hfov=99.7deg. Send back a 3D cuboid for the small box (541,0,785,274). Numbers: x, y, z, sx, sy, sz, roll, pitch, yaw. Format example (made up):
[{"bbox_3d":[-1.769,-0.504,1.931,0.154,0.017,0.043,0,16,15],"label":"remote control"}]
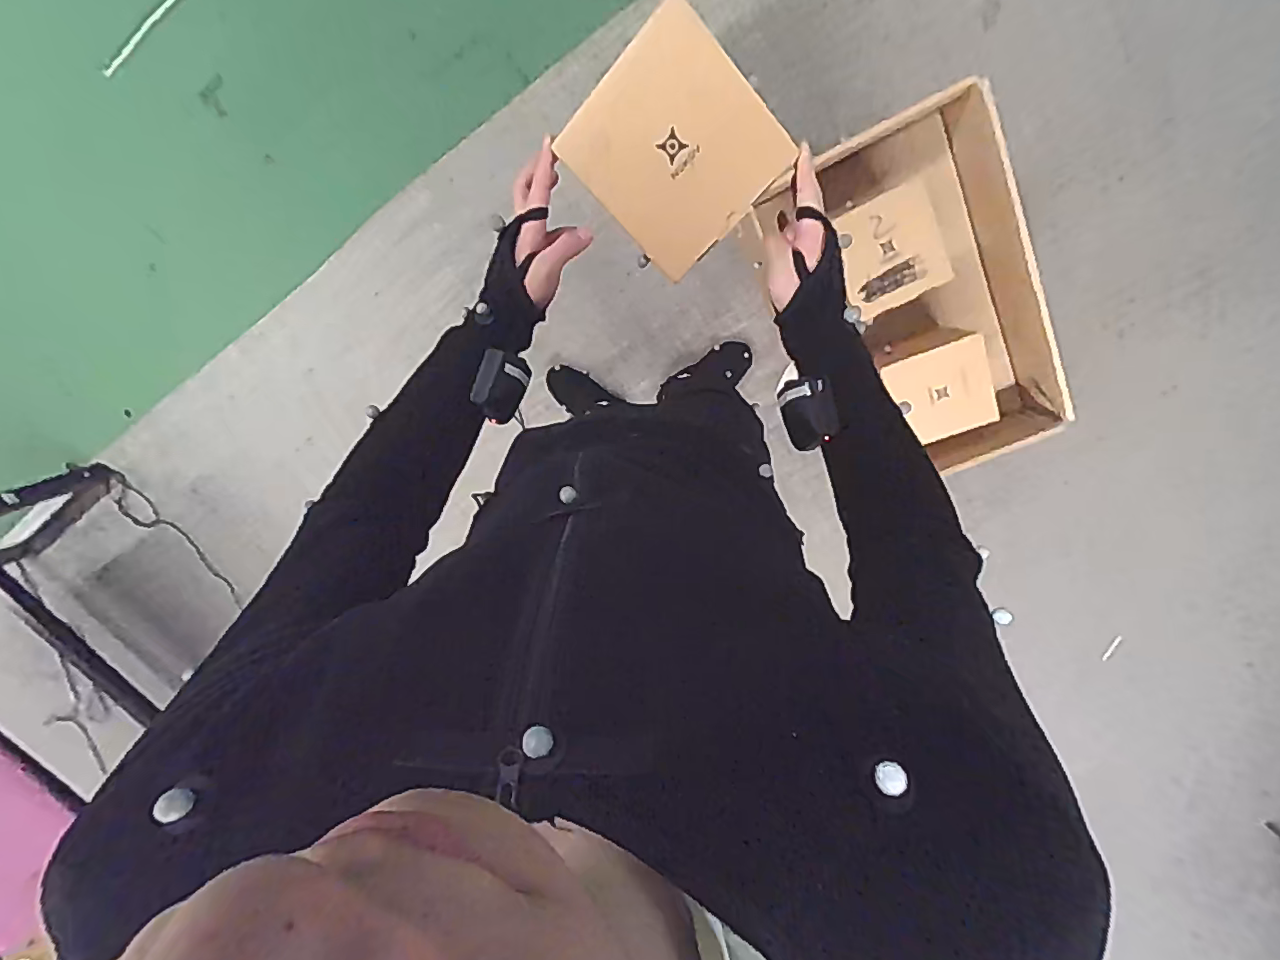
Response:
[{"bbox_3d":[0.023,-0.352,0.582,0.179,0.176,0.168,41,112,-18],"label":"small box"}]

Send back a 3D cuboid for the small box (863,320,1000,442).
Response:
[{"bbox_3d":[0.539,-0.193,1.026,0.179,0.176,0.168,-18,108,12],"label":"small box"}]
